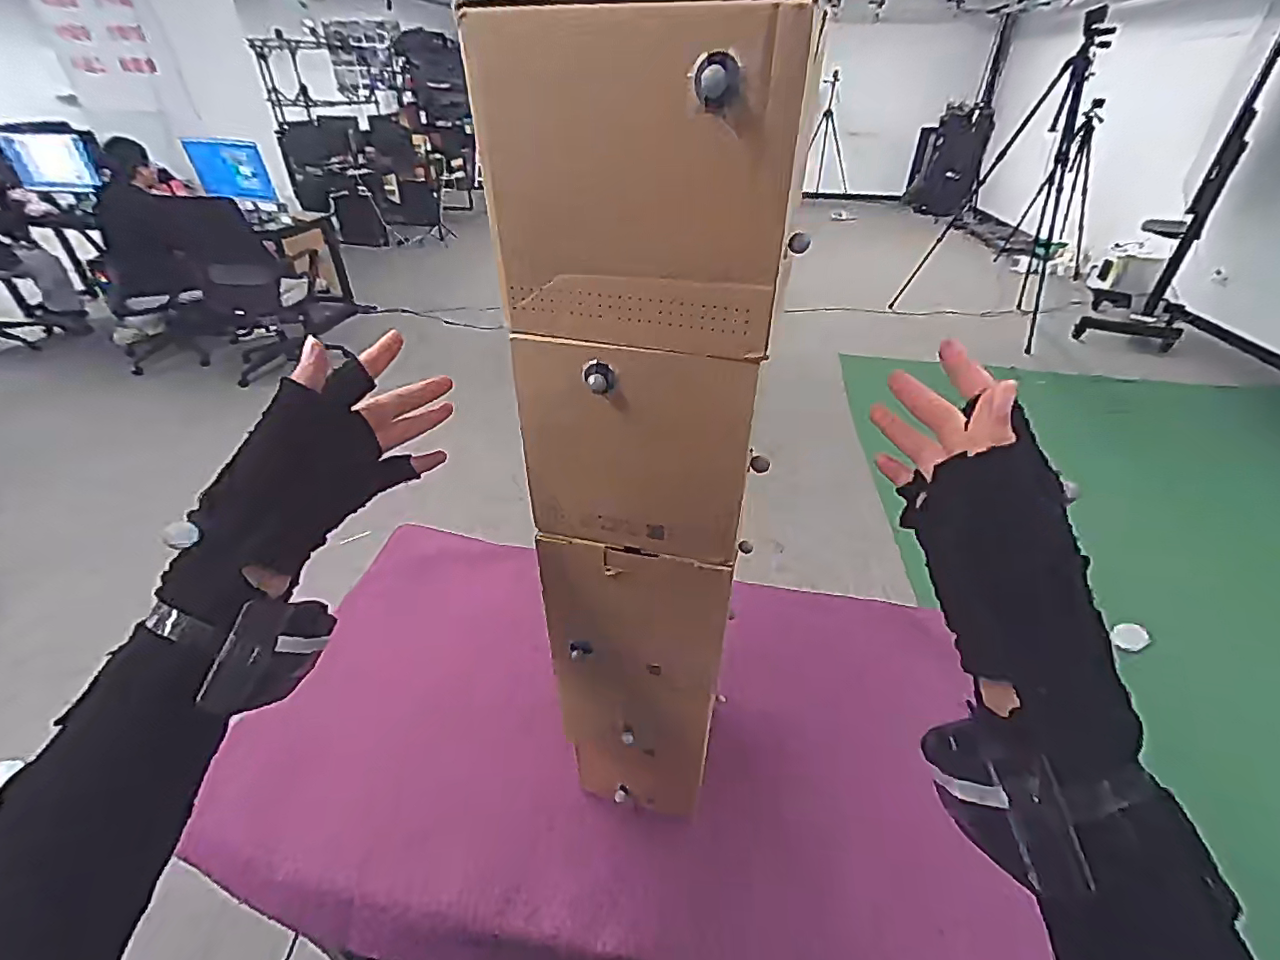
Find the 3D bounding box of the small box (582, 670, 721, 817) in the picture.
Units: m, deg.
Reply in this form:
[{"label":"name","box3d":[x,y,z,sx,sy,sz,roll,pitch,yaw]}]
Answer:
[{"label":"small box","box3d":[0.018,0.327,0.757,0.168,0.176,0.179,9,37,12]}]

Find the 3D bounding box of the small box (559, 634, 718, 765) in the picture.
[{"label":"small box","box3d":[0.012,0.202,0.650,0.168,0.176,0.179,7,36,11]}]

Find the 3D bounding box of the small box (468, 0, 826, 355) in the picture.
[{"label":"small box","box3d":[0.016,-0.195,0.361,0.179,0.176,0.168,11,37,13]}]

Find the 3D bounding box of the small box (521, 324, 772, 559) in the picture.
[{"label":"small box","box3d":[0.017,-0.062,0.457,0.168,0.176,0.179,9,35,12]}]

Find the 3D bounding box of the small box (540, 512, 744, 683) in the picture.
[{"label":"small box","box3d":[0.015,0.074,0.547,0.168,0.176,0.179,8,35,11]}]
